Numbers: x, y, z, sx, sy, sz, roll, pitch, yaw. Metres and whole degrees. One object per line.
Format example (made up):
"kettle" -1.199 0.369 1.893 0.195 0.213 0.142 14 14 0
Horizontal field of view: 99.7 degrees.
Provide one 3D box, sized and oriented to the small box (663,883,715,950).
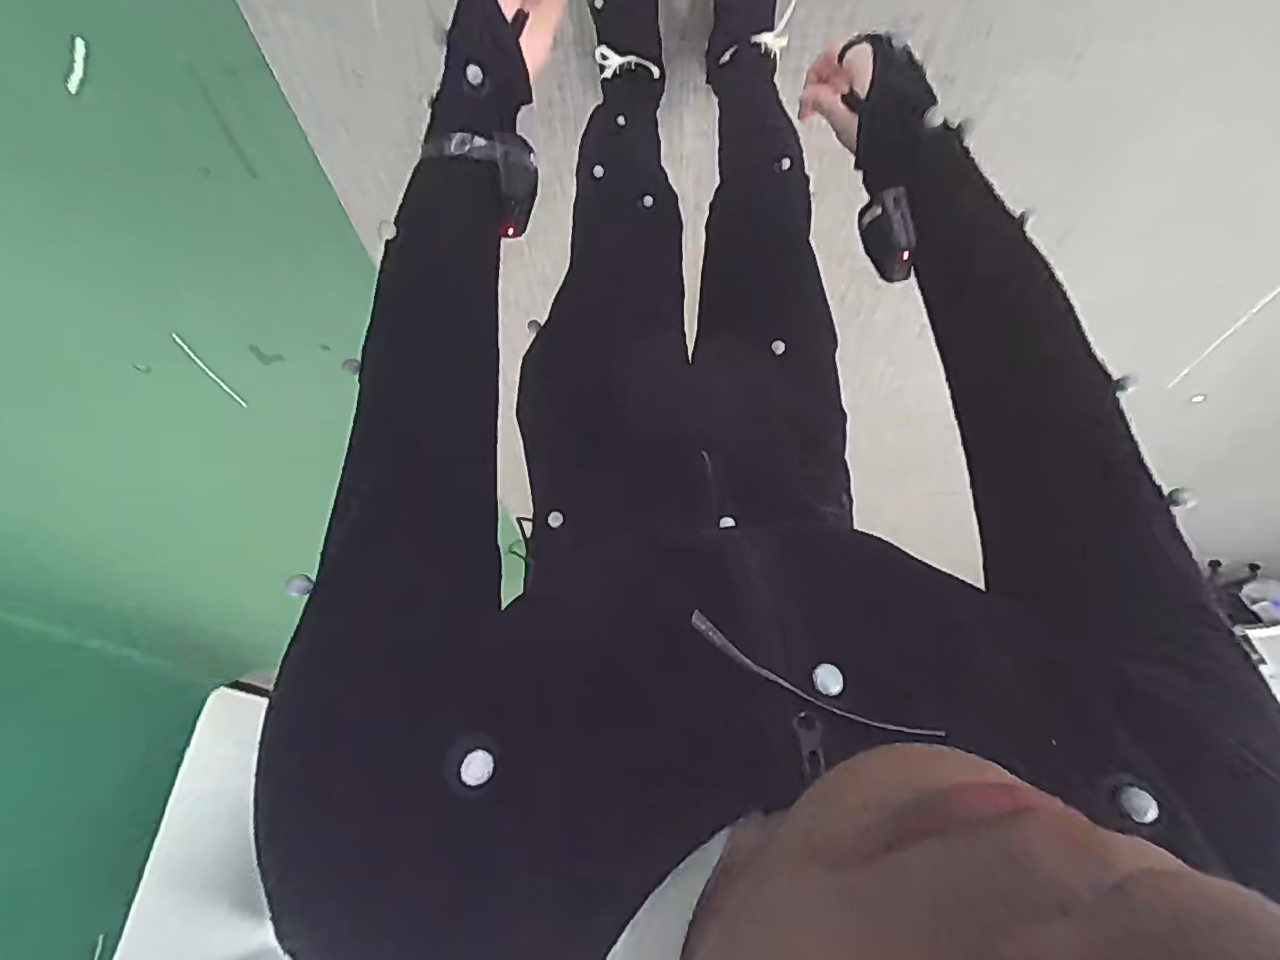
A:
"small box" 0.179 1.605 1.997 0.179 0.176 0.168 -4 149 2
